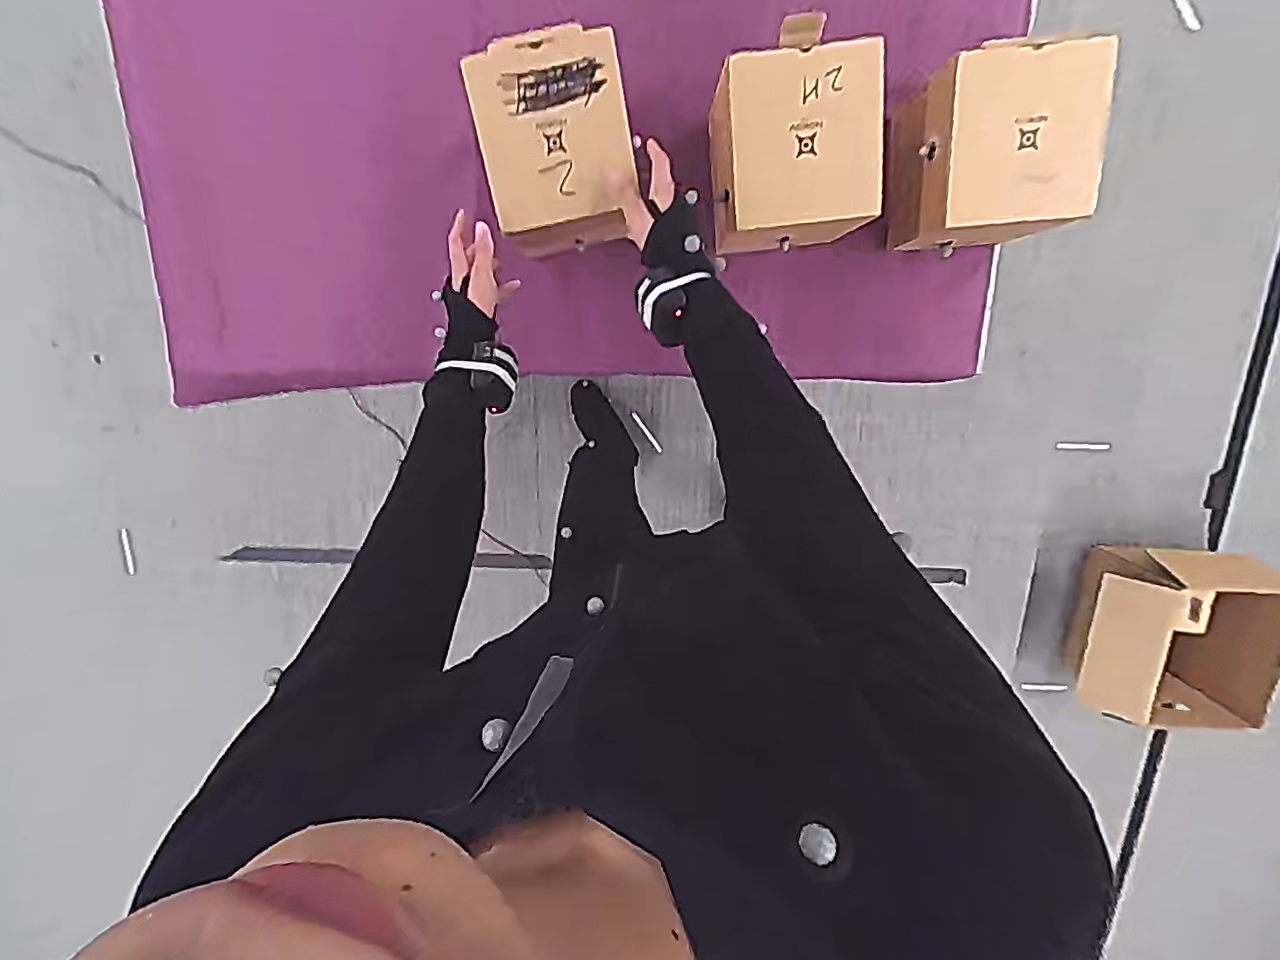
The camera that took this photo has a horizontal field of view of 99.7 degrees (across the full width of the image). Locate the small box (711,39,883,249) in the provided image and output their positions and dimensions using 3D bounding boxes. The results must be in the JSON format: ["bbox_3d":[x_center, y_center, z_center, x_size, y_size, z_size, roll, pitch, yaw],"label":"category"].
[{"bbox_3d":[0.182,-0.392,0.666,0.168,0.176,0.179,-5,104,2],"label":"small box"}]

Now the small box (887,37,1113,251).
[{"bbox_3d":[0.421,-0.395,0.665,0.168,0.176,0.179,-3,104,3],"label":"small box"}]
